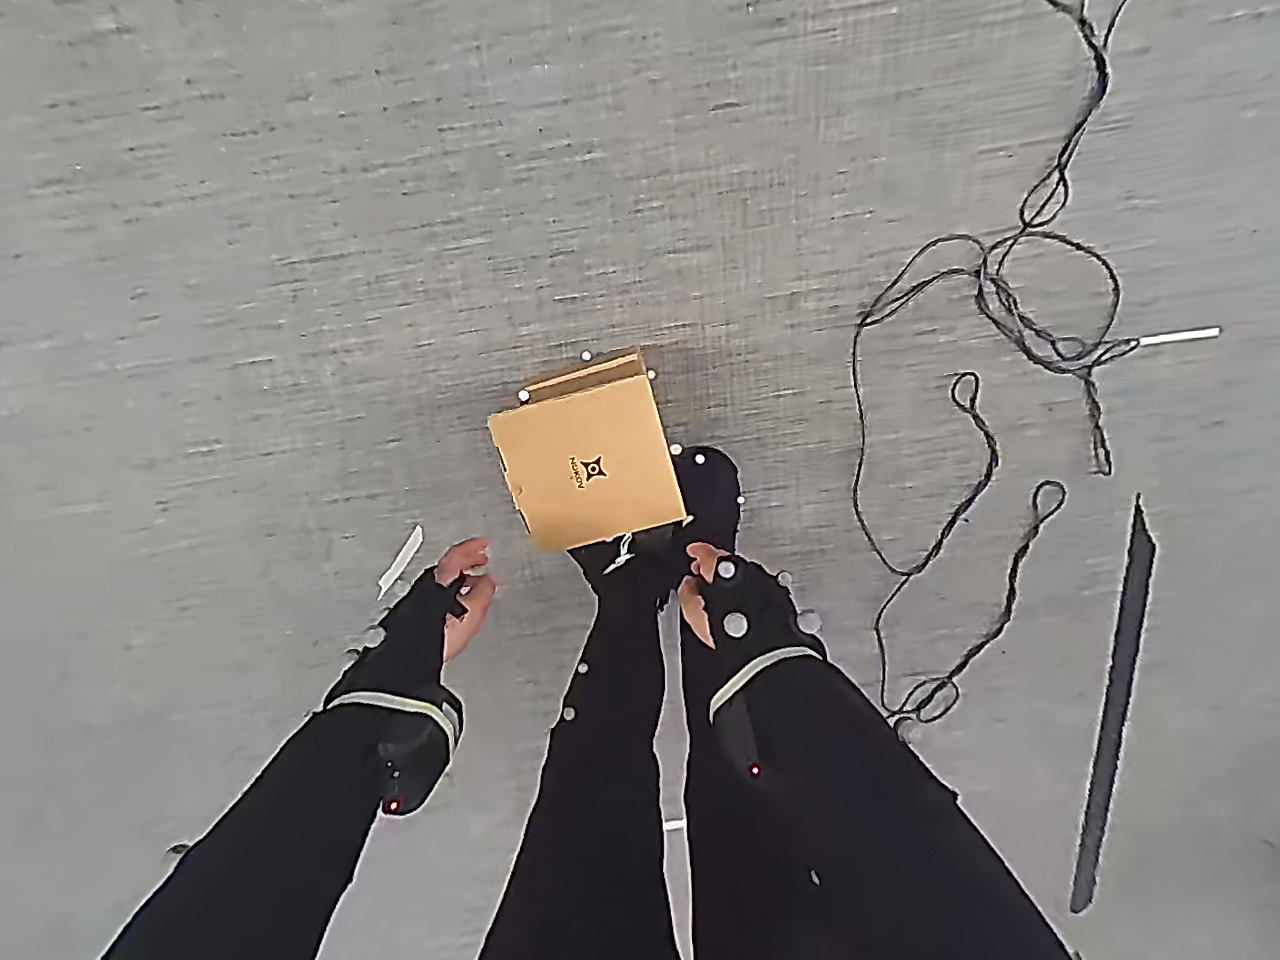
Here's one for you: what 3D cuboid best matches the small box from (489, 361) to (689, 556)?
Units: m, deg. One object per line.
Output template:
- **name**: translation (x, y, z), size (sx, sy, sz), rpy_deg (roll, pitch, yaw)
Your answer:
- **small box**: translation (-0.052, -0.036, 0.642), size (0.179, 0.176, 0.168), rpy_deg (-15, 107, 5)
